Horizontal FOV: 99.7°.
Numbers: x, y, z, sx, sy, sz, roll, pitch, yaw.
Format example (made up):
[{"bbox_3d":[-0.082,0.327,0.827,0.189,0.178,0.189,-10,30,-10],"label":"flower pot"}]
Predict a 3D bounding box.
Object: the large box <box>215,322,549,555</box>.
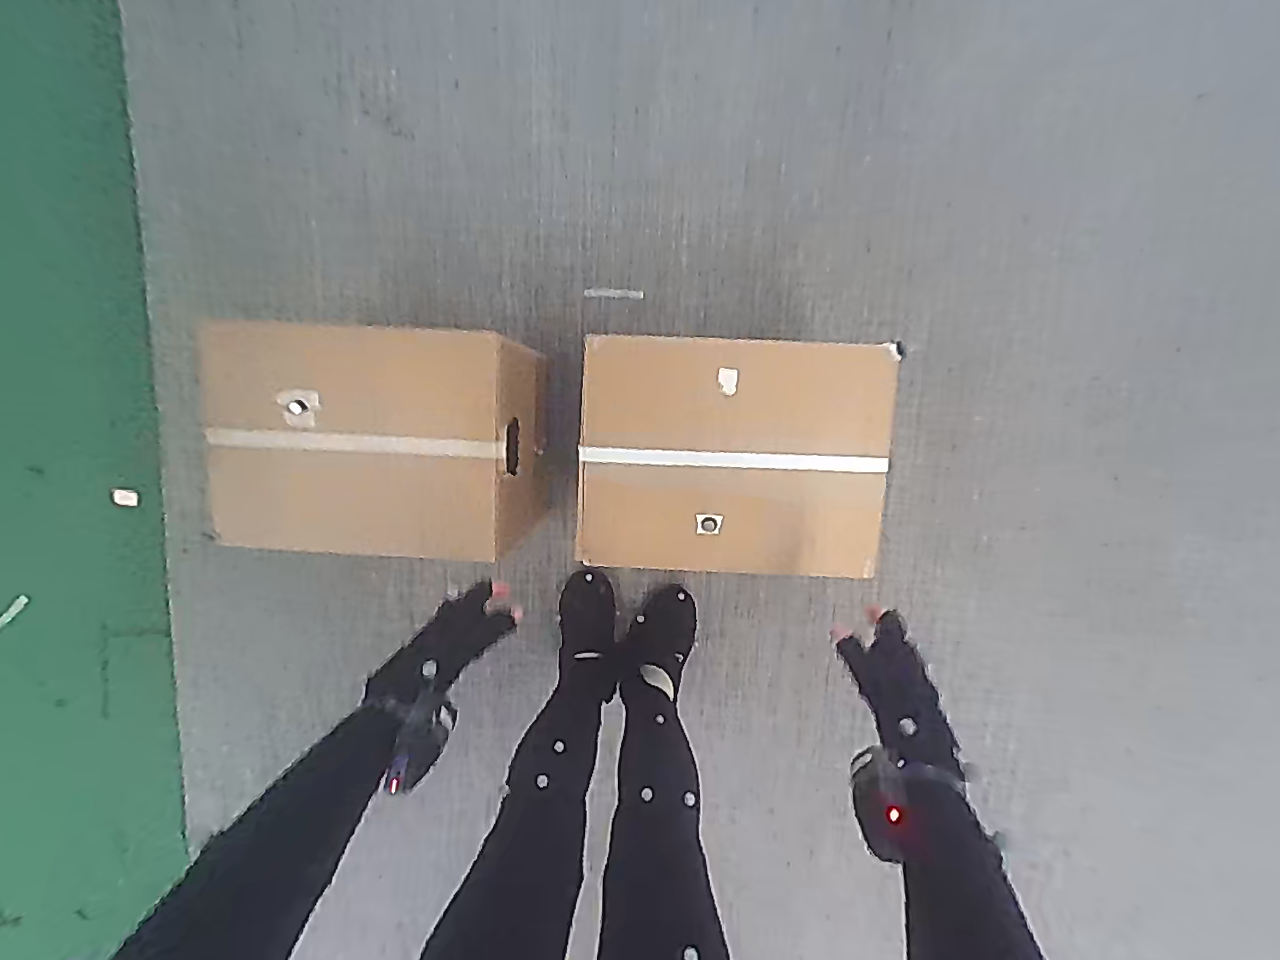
[{"bbox_3d":[-0.379,-0.077,0.895,0.408,0.320,0.320,4,98,2],"label":"large box"}]
